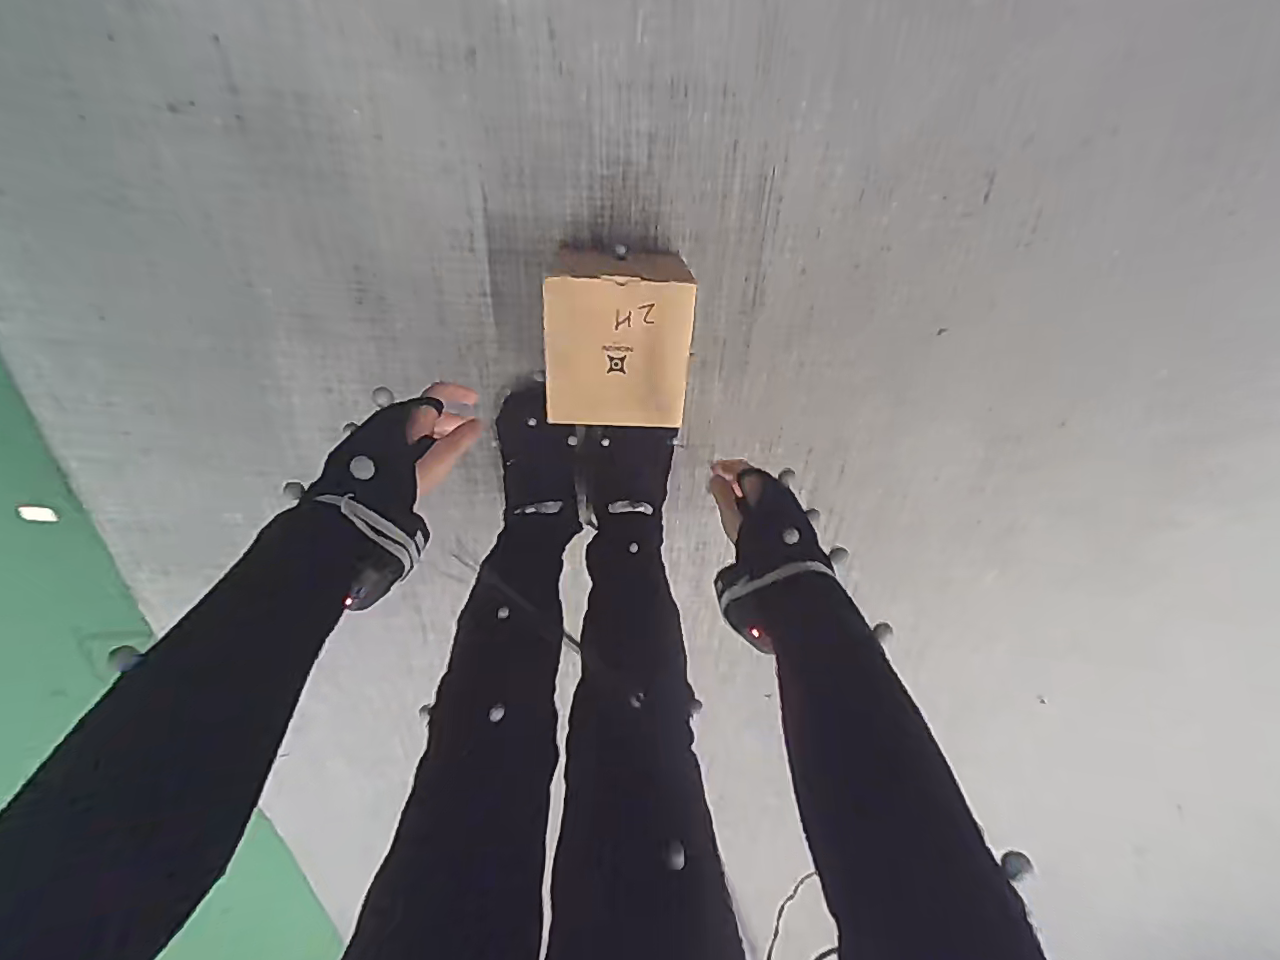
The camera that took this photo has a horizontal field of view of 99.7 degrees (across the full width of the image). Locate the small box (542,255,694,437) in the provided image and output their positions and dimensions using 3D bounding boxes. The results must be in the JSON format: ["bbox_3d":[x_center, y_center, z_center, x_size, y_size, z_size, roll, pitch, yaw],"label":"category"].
[{"bbox_3d":[-0.031,-0.172,0.684,0.168,0.176,0.179,2,122,-4],"label":"small box"}]
